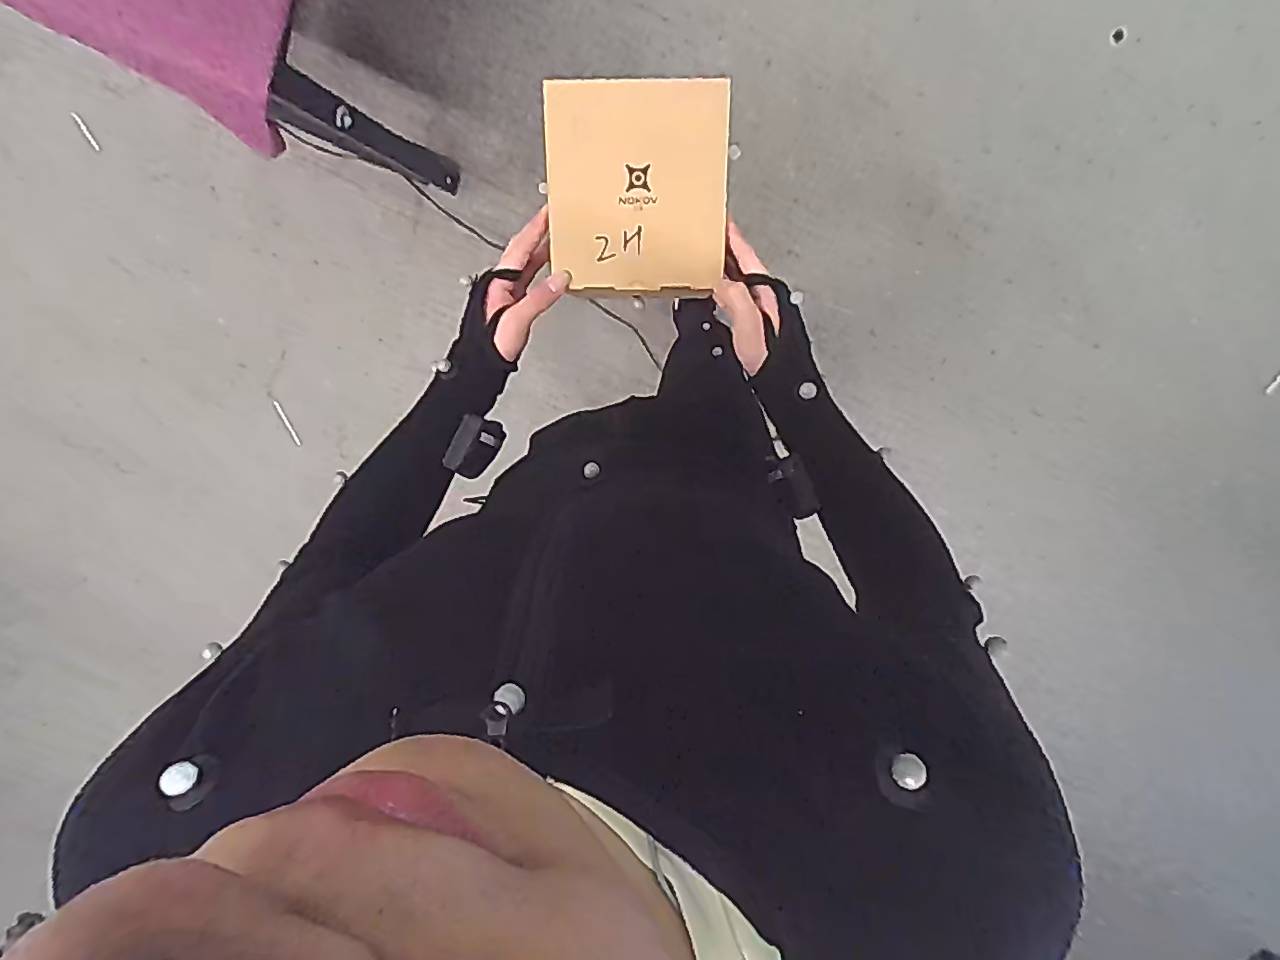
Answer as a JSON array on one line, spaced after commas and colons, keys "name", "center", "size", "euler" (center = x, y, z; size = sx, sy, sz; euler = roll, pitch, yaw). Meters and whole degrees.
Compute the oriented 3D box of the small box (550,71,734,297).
[{"name": "small box", "center": [0.000, -0.292, 0.570], "size": [0.168, 0.176, 0.179], "euler": [1, 105, 1]}]
